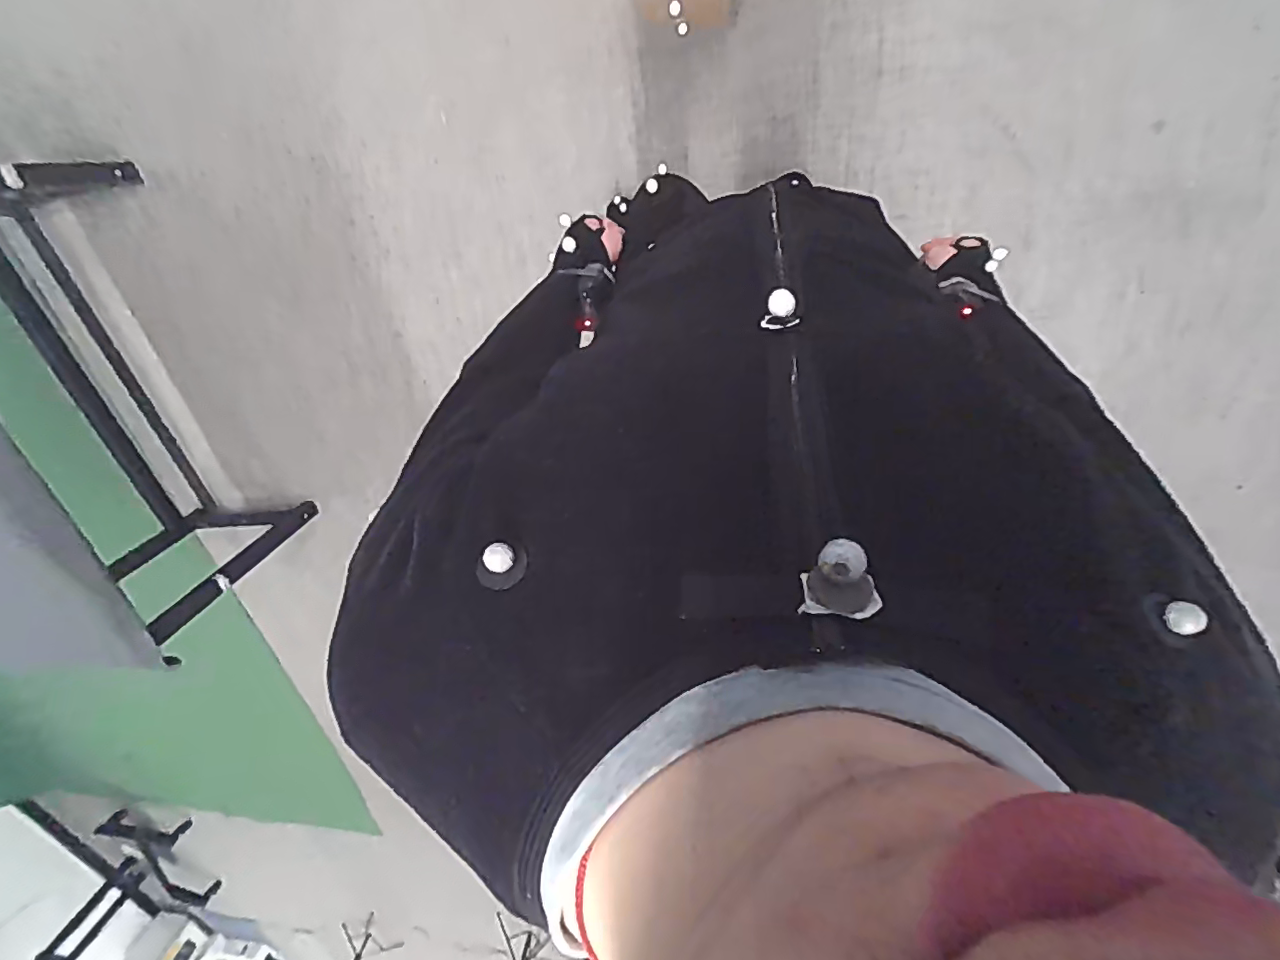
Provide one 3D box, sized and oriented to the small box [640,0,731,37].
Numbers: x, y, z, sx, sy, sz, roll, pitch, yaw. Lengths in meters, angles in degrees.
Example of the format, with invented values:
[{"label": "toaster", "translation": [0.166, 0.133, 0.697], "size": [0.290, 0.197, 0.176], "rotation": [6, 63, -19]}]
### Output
[{"label": "small box", "translation": [0.099, -1.004, 1.063], "size": [0.168, 0.176, 0.179], "rotation": [9, 122, 7]}]
